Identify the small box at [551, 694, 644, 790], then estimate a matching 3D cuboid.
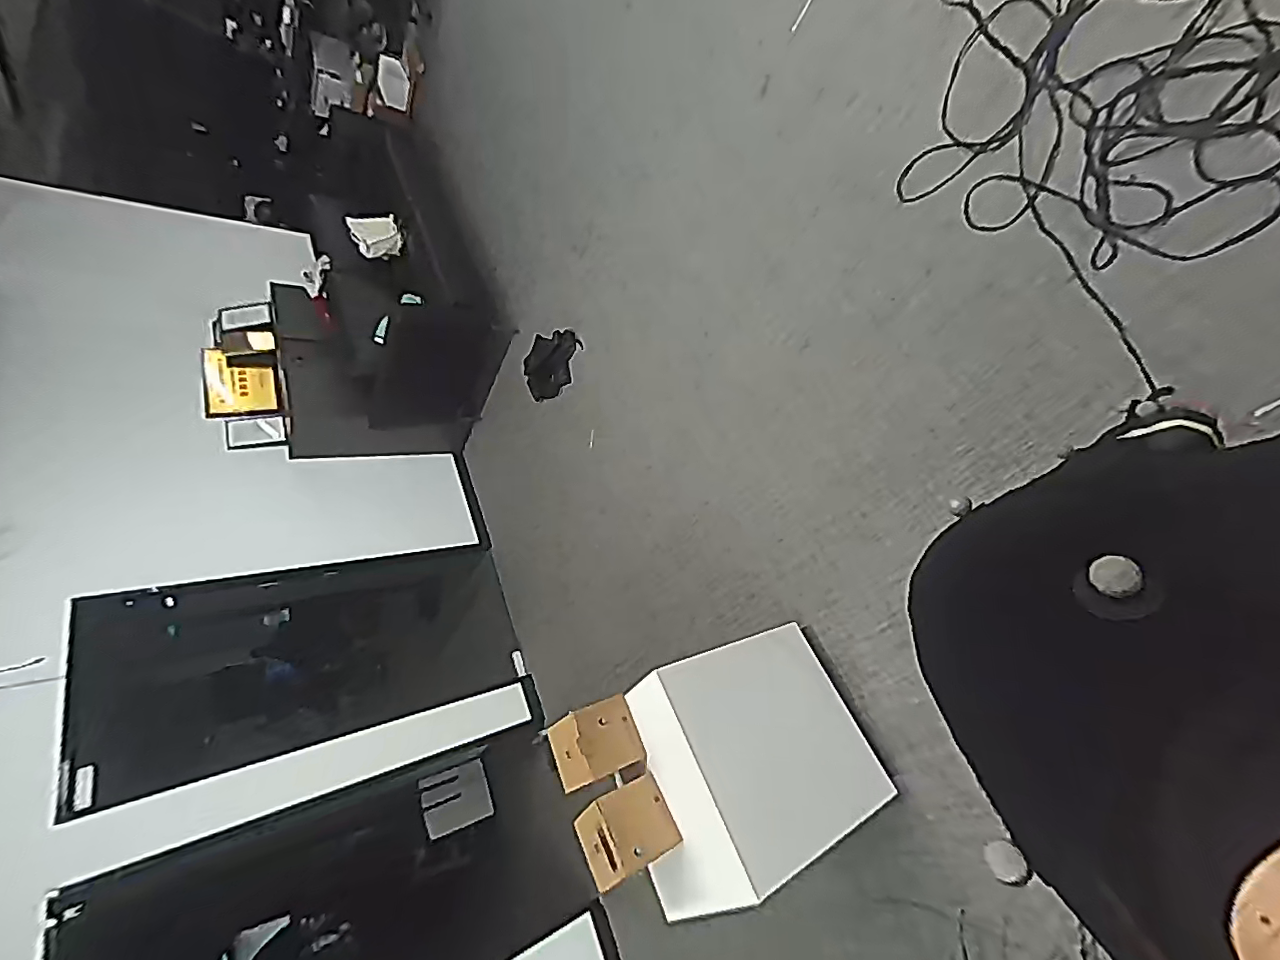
[{"bbox_3d":[-0.108,0.687,1.425,0.179,0.176,0.168,-51,54,43],"label":"small box"}]
